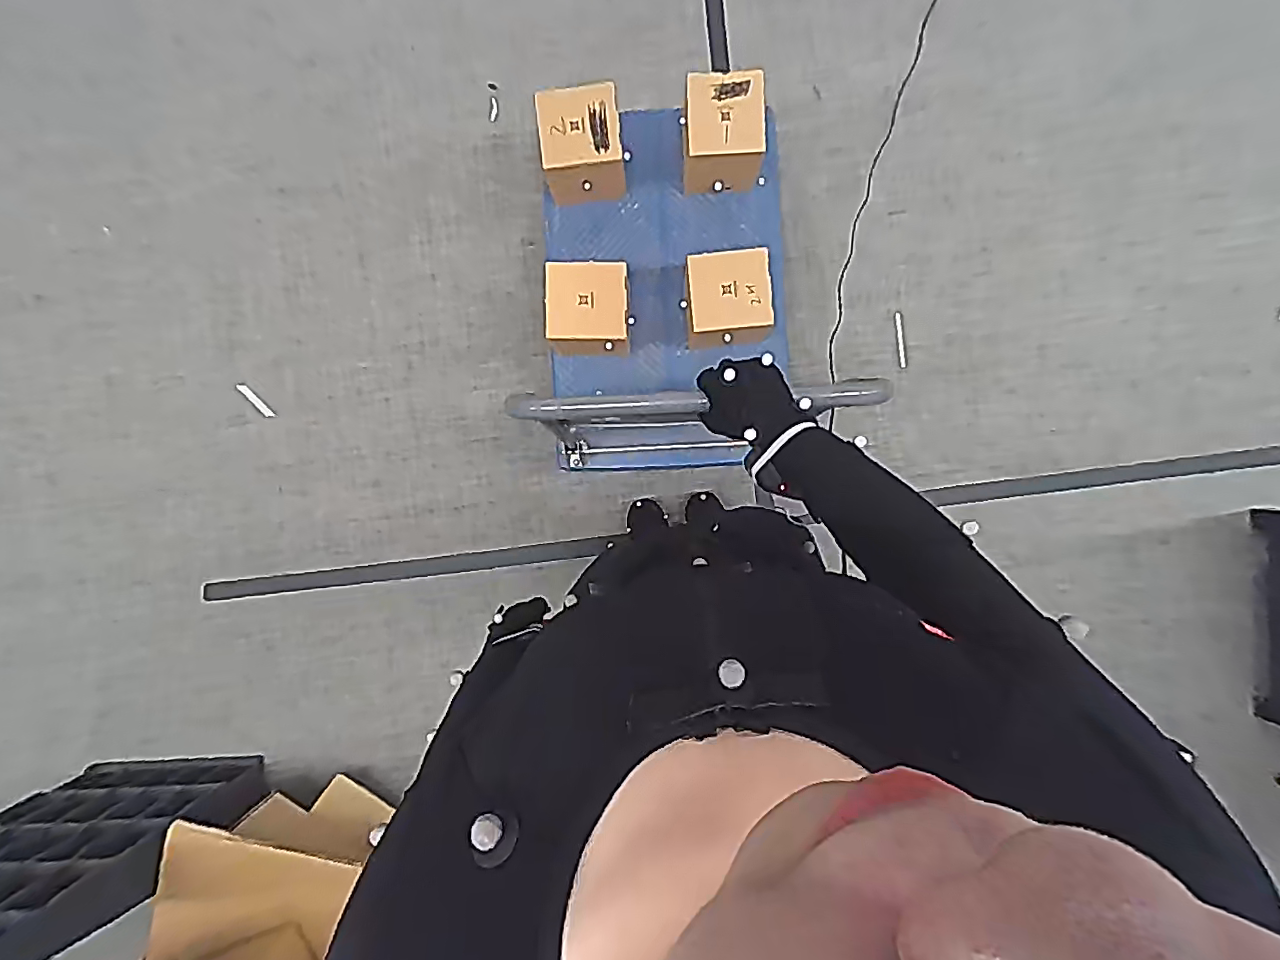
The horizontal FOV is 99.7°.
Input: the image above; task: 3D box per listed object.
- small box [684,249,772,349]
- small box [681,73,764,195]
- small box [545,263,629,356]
[{"bbox_3d":[0.193,-0.404,1.234,0.179,0.176,0.168,-5,91,1],"label":"small box"},{"bbox_3d":[0.182,-0.780,1.231,0.168,0.176,0.179,-2,92,1],"label":"small box"},{"bbox_3d":[-0.116,-0.384,1.241,0.179,0.176,0.168,-1,90,0],"label":"small box"}]
